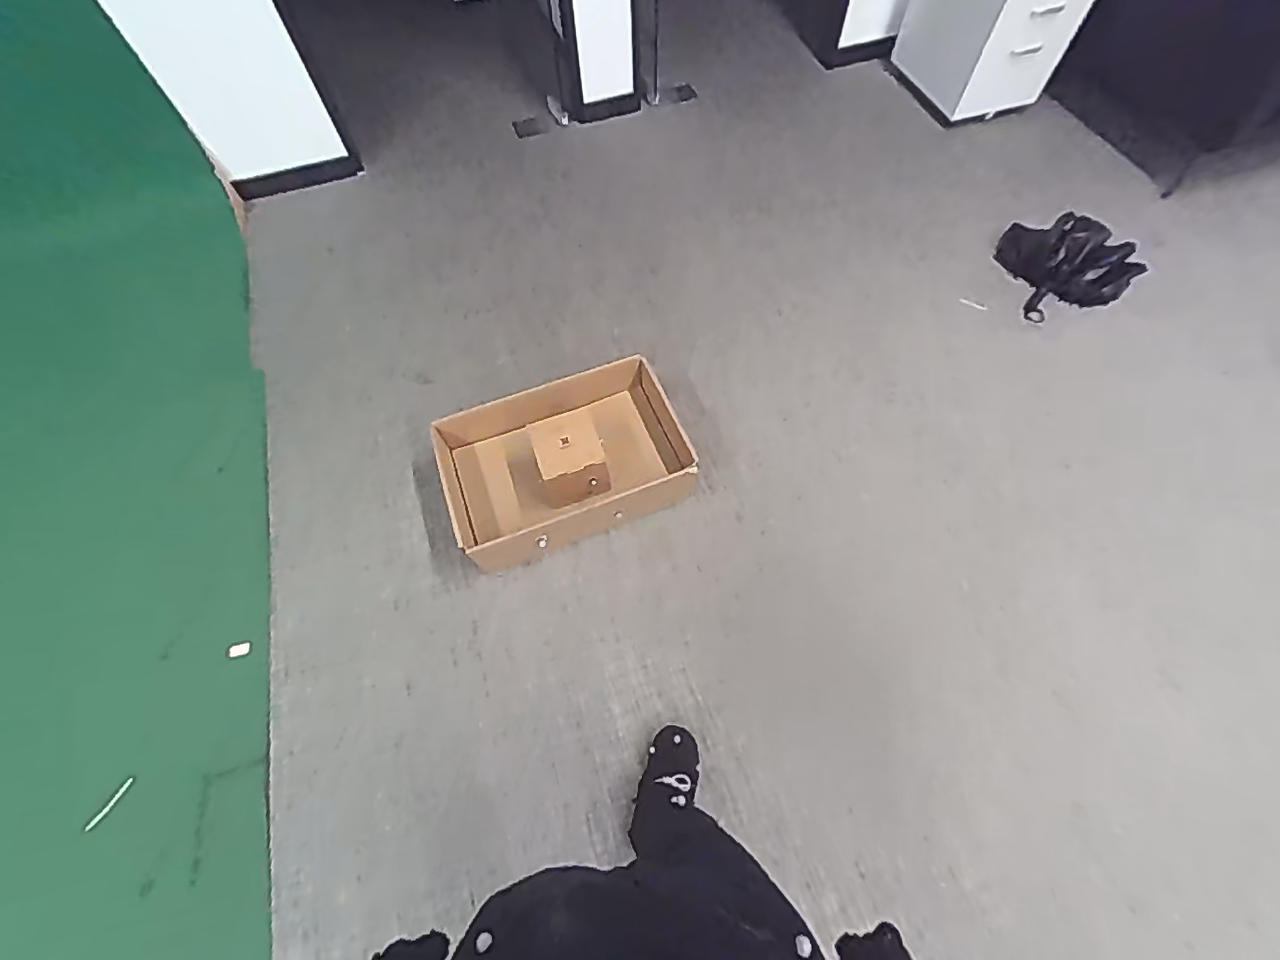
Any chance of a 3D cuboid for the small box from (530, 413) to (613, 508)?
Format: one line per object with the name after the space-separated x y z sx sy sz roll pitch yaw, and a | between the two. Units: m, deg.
-0.177 -0.044 1.437 0.168 0.176 0.179 -18 61 -8 | small box
